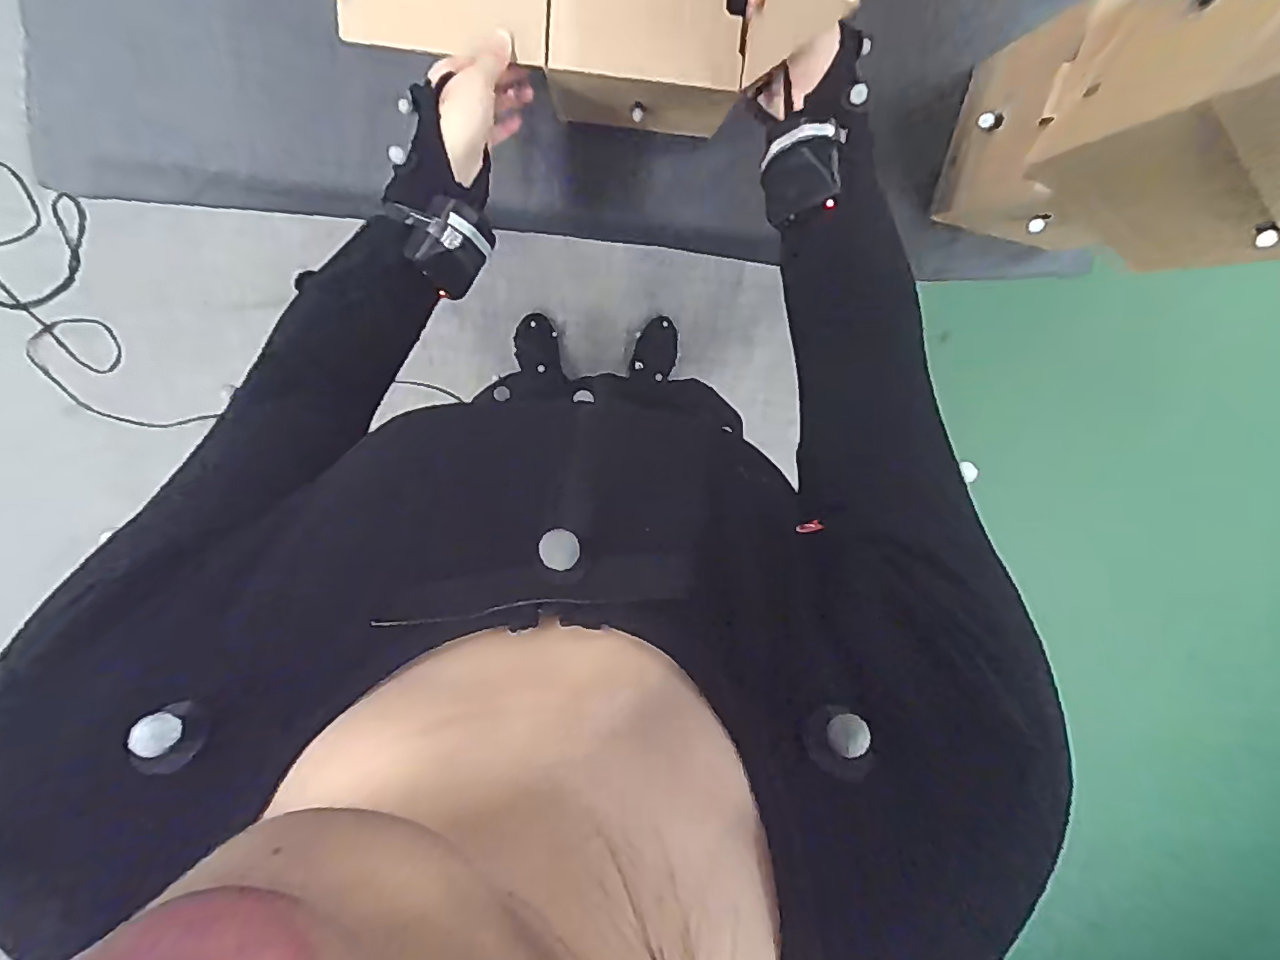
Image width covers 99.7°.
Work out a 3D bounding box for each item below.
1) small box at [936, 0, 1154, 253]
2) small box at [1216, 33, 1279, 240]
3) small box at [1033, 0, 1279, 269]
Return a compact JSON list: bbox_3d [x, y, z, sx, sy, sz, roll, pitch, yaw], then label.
[{"bbox_3d":[0.457,-0.350,0.573,0.179,0.176,0.168,10,106,-7],"label":"small box"},{"bbox_3d":[0.479,-0.212,0.274,0.179,0.176,0.168,41,100,-15],"label":"small box"},{"bbox_3d":[0.471,-0.284,0.423,0.179,0.176,0.168,30,102,-14],"label":"small box"}]
